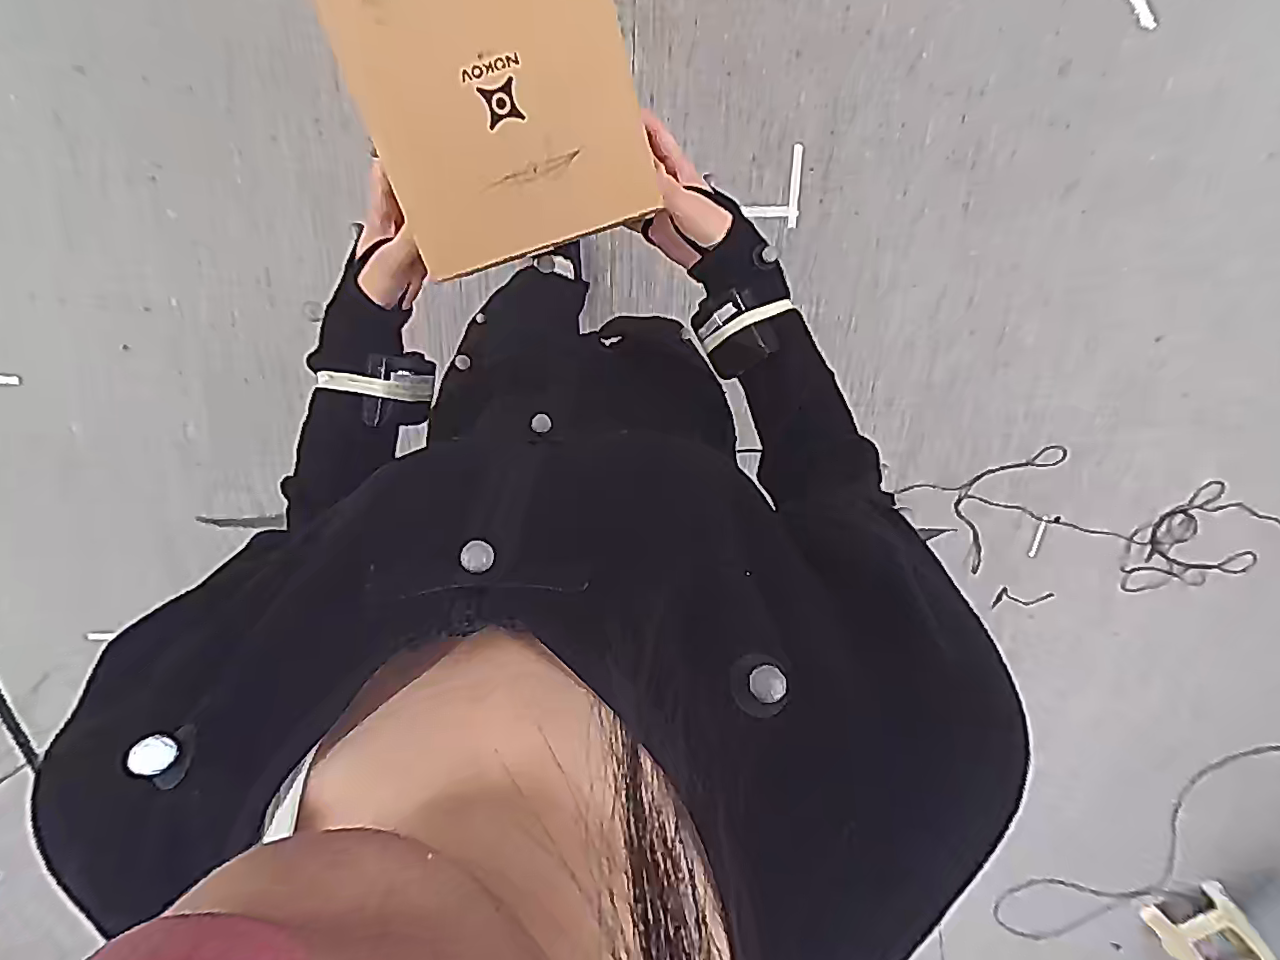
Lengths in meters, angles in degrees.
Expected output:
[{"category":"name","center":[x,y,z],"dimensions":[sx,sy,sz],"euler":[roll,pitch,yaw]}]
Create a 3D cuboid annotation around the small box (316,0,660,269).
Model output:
[{"category":"small box","center":[-0.096,-0.266,0.396],"dimensions":[0.168,0.176,0.179],"euler":[-17,114,0]}]
